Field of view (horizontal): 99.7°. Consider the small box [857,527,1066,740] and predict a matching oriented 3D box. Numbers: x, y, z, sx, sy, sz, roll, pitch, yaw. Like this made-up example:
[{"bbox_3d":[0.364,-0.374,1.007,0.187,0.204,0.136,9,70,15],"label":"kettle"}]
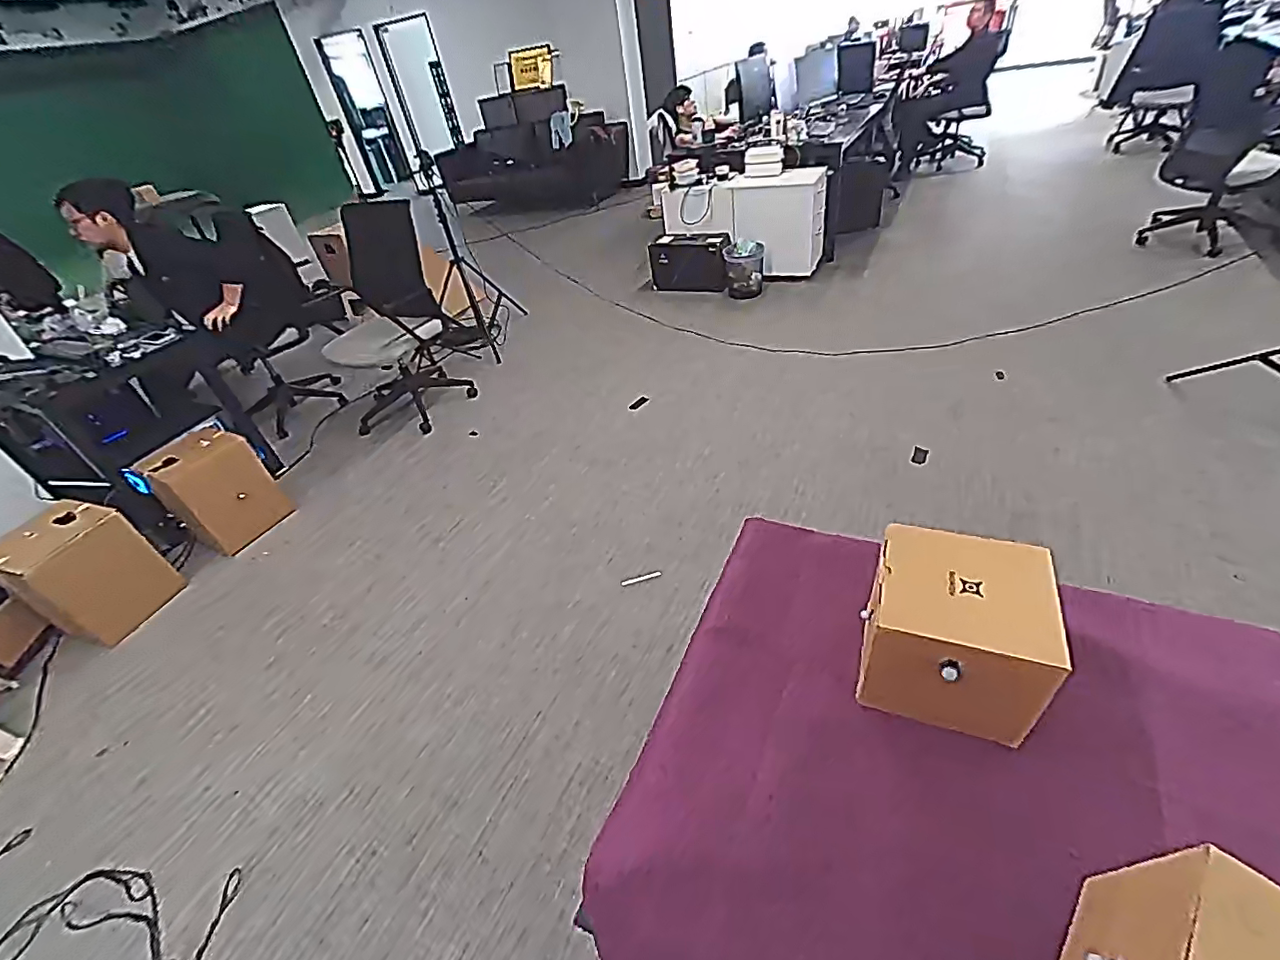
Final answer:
[{"bbox_3d":[0.373,0.185,0.655,0.179,0.176,0.168,9,43,23],"label":"small box"}]
